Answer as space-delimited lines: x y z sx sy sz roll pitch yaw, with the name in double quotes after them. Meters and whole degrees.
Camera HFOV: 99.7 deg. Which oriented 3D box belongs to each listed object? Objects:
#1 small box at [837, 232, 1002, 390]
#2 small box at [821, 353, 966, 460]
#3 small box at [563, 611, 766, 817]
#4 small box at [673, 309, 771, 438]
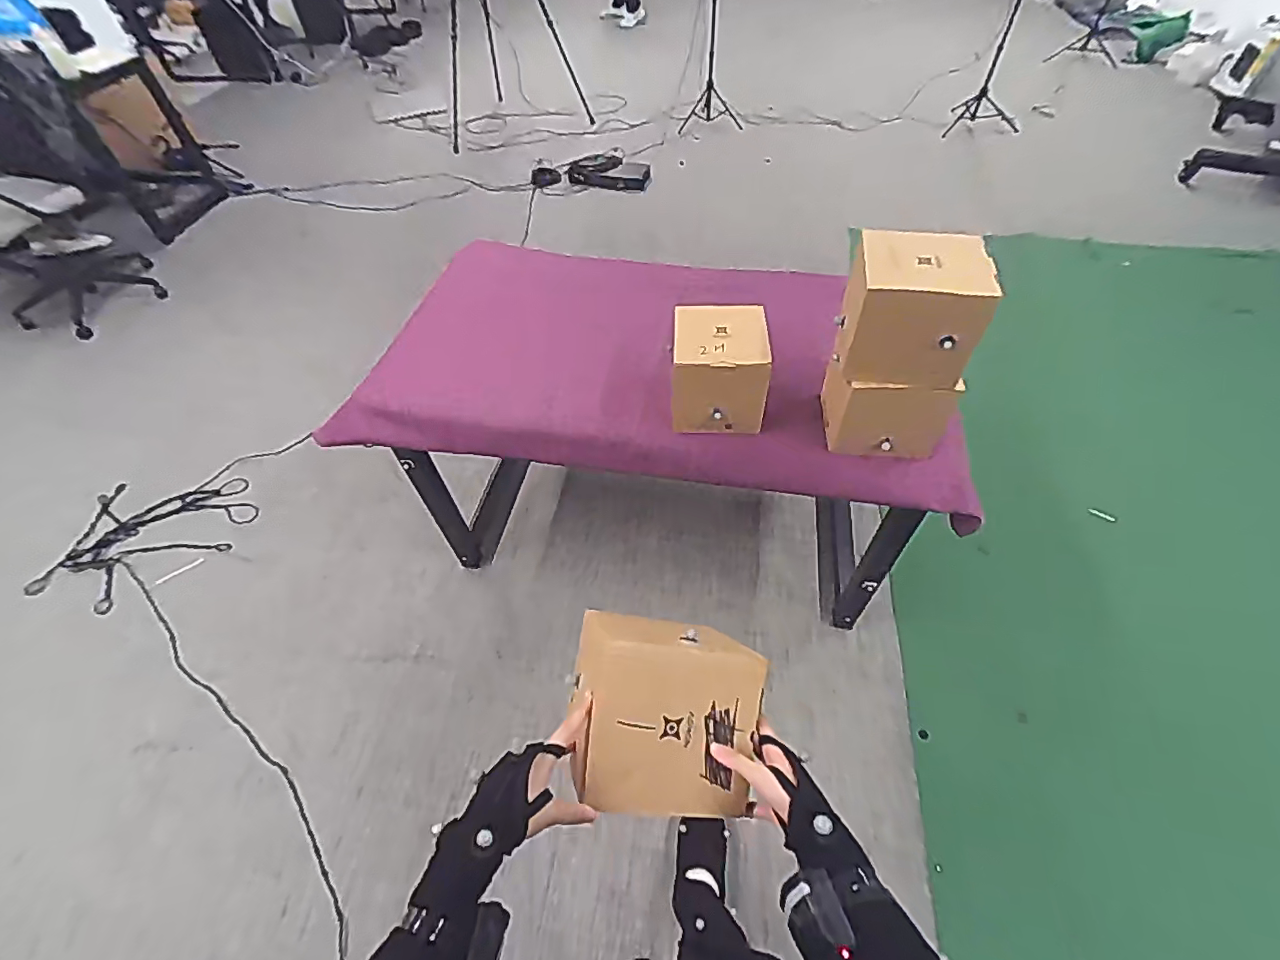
0.418 -0.258 0.839 0.179 0.176 0.168 8 52 11 "small box"
0.435 -0.150 0.961 0.179 0.176 0.168 3 52 6 "small box"
0.018 0.254 0.621 0.179 0.176 0.168 12 83 -13 "small box"
0.148 -0.201 1.019 0.168 0.176 0.179 1 51 5 "small box"
